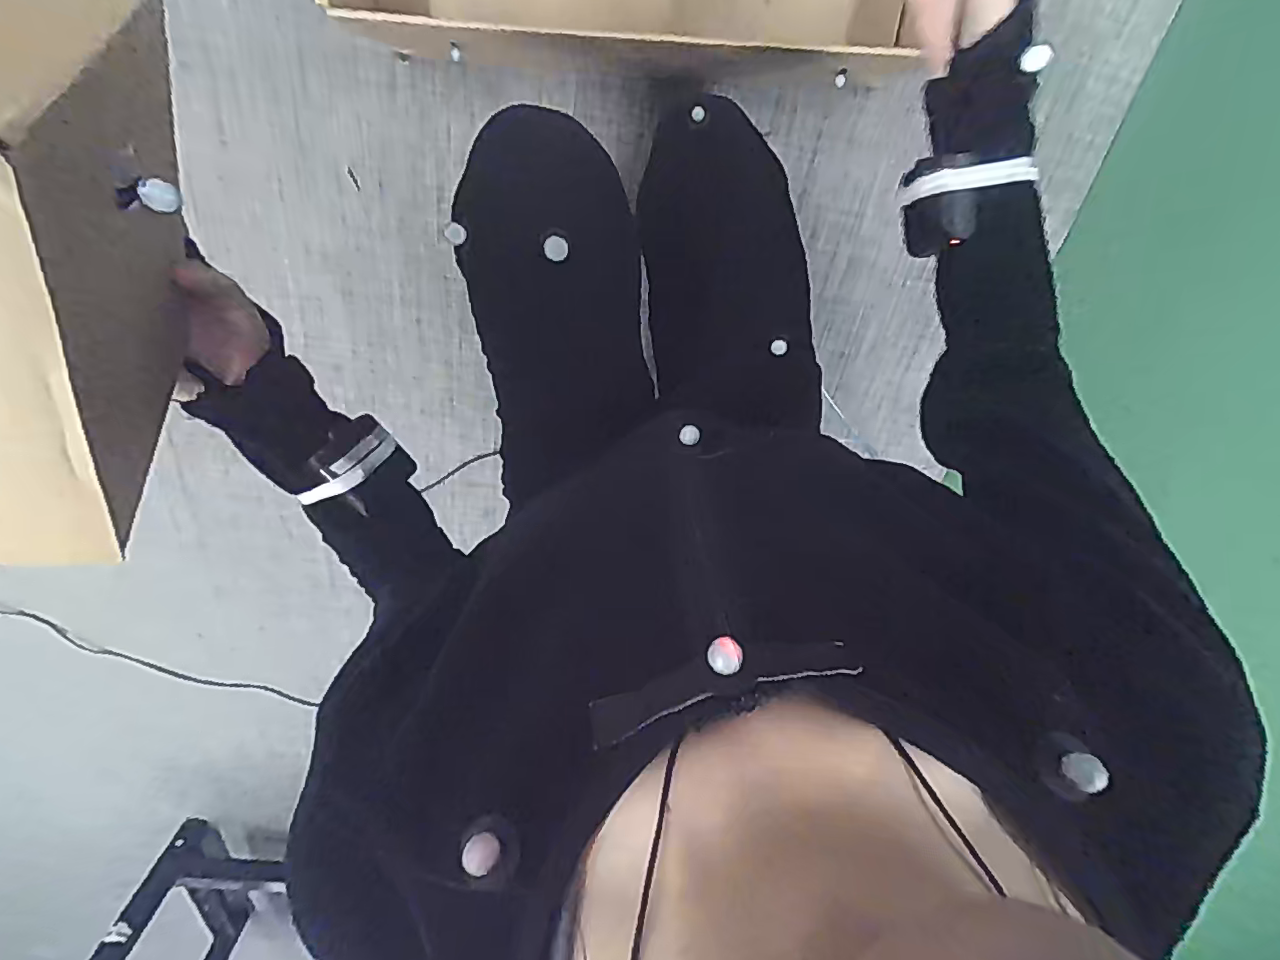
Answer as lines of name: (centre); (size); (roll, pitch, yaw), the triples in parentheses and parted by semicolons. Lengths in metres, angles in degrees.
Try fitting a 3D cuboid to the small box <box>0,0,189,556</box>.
small box: (-0.281, -0.090, 0.190); (0.168, 0.176, 0.179); (6, 137, -32)
